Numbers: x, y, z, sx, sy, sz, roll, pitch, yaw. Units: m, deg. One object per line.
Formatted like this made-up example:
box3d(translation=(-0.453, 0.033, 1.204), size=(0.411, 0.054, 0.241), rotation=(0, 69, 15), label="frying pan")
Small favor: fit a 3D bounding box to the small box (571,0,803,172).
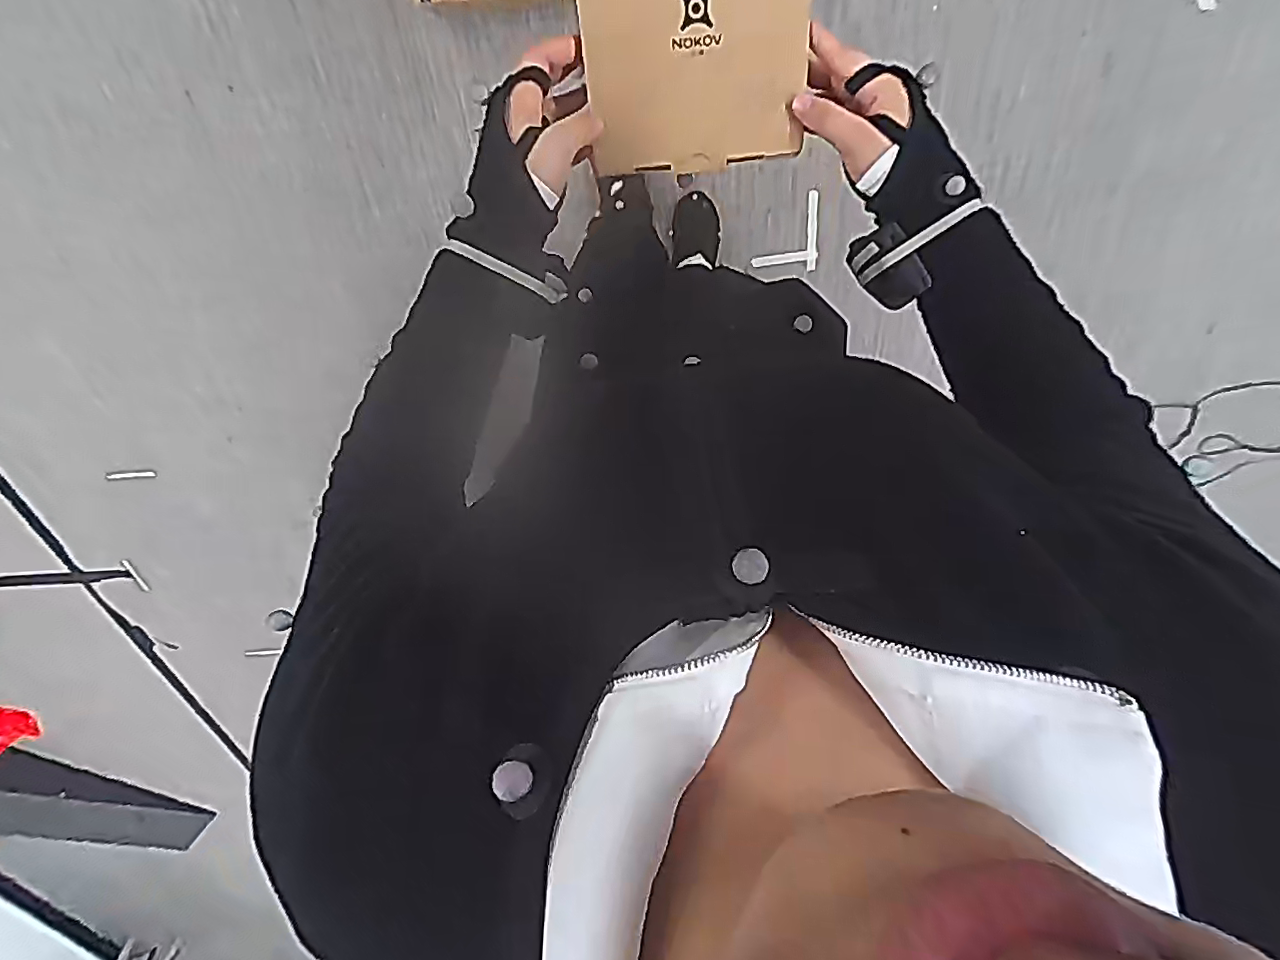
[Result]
box3d(translation=(0.032, -0.368, 0.452), size=(0.168, 0.176, 0.179), rotation=(-6, 120, 0), label="small box")
